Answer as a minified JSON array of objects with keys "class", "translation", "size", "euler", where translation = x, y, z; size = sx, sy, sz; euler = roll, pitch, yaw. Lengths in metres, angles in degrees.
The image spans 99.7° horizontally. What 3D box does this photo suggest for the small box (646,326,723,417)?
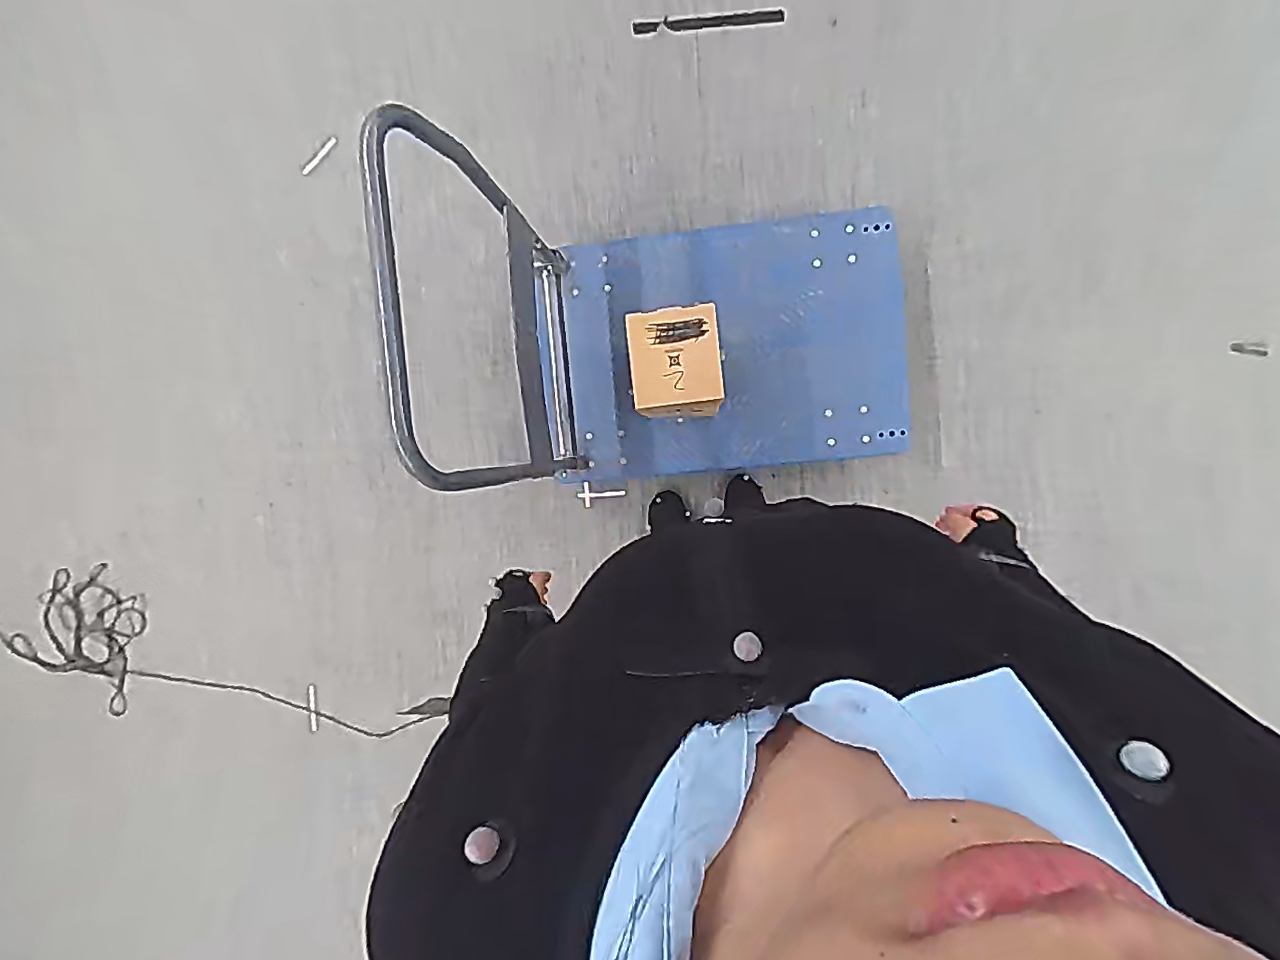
[{"class":"small box","translation":[0.099,-0.237,1.218],"size":[0.168,0.176,0.179],"euler":[-1,93,5]}]
